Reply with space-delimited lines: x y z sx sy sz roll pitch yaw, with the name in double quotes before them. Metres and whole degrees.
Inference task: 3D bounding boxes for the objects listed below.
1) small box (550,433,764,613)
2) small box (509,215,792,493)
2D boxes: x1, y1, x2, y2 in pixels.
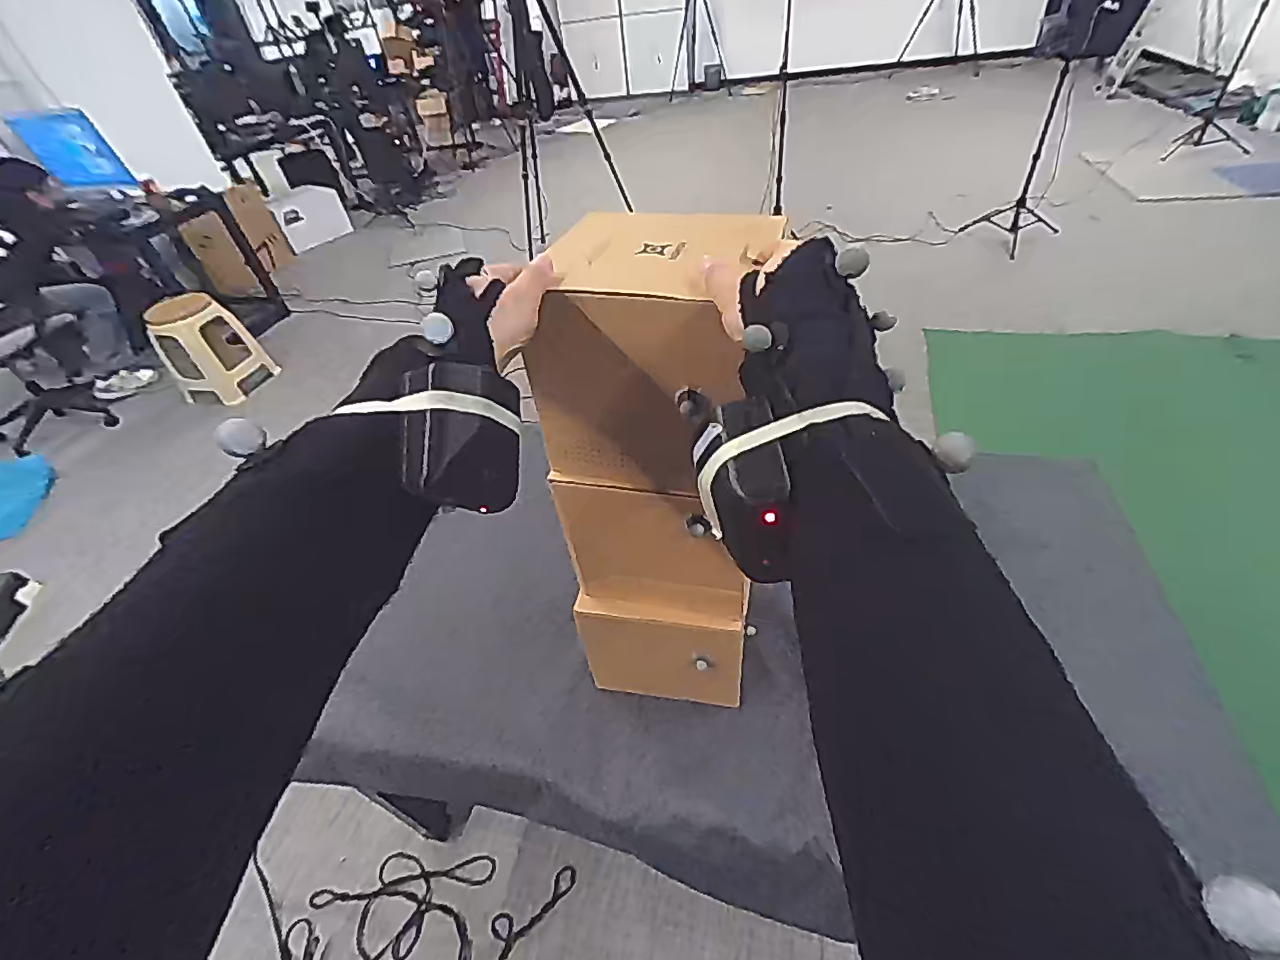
"small box" 0.030 0.017 0.557 0.179 0.176 0.168 6 43 14
"small box" 0.023 -0.106 0.452 0.179 0.176 0.168 7 42 16
